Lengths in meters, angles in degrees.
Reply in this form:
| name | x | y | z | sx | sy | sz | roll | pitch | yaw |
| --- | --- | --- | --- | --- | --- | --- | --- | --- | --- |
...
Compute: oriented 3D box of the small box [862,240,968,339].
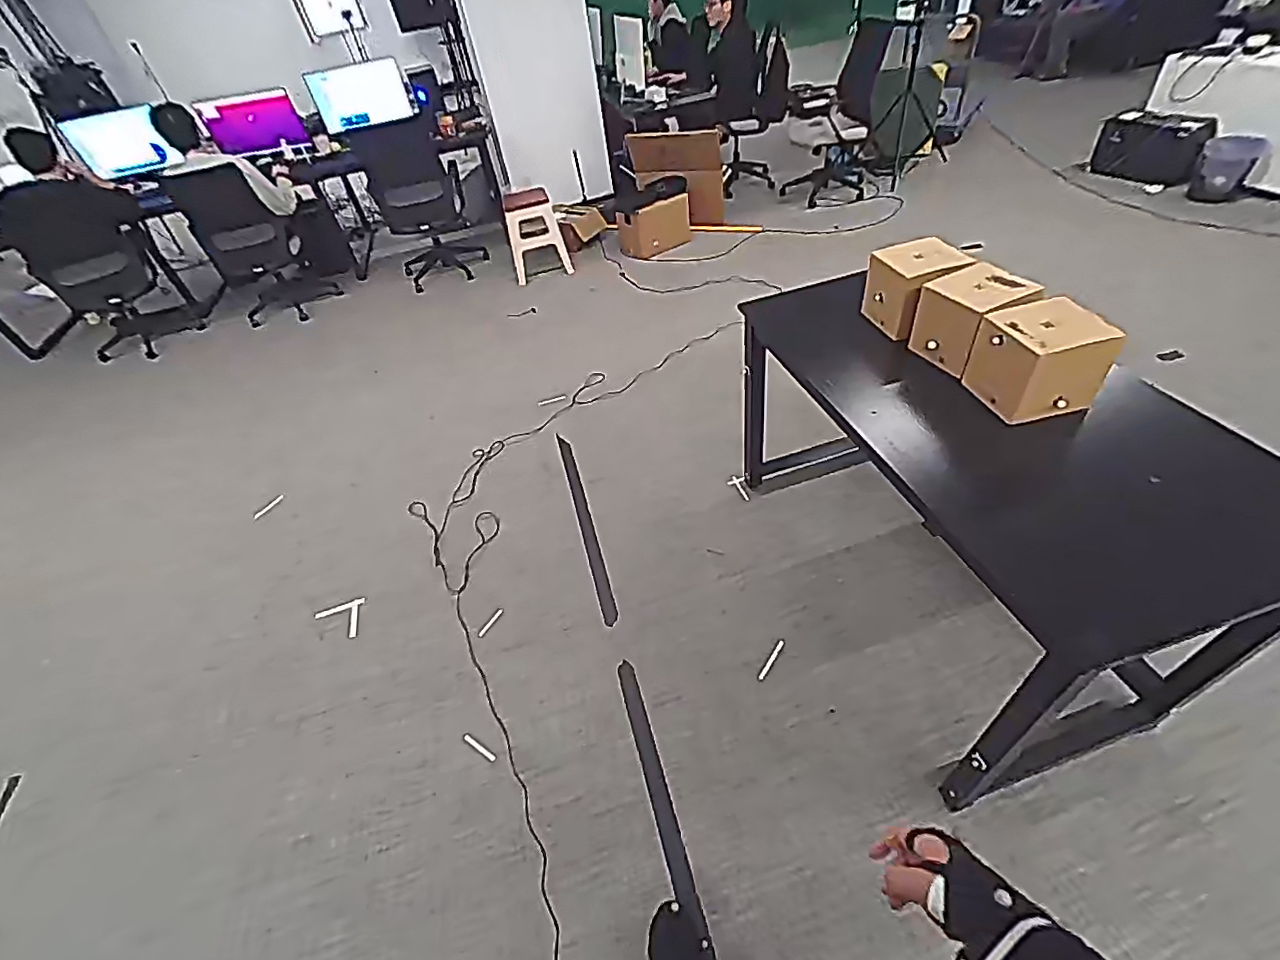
| name | x | y | z | sx | sy | sz | roll | pitch | yaw |
| --- | --- | --- | --- | --- | --- | --- | --- | --- | --- |
| small box | 0.681 | -0.478 | 1.366 | 0.179 | 0.176 | 0.168 | -15 | 44 | -4 |
